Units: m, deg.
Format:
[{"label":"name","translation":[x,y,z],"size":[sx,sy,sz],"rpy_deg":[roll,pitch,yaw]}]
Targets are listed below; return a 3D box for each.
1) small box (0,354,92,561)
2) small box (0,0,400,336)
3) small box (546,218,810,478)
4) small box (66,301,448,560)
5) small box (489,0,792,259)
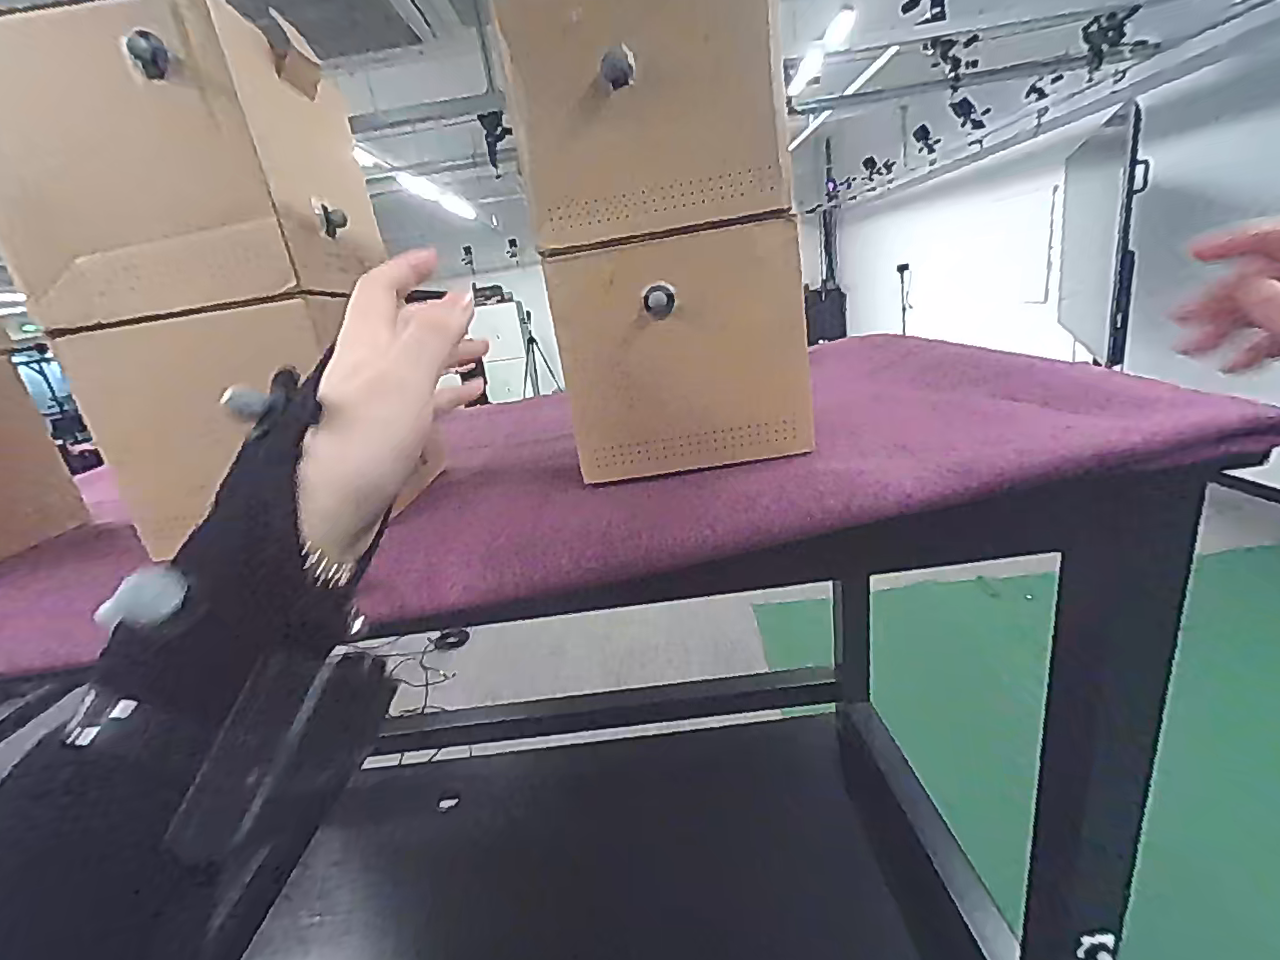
[{"label":"small box","translation":[-0.621,0.003,0.435],"size":[0.168,0.176,0.179],"rpy_deg":[-7,18,0]},{"label":"small box","translation":[-0.313,-0.203,0.406],"size":[0.179,0.176,0.168],"rpy_deg":[-9,17,0]},{"label":"small box","translation":[0.035,-0.105,0.465],"size":[0.179,0.176,0.168],"rpy_deg":[-8,15,4]},{"label":"small box","translation":[-0.283,-0.049,0.453],"size":[0.179,0.176,0.168],"rpy_deg":[-9,17,1]},{"label":"small box","translation":[0.008,-0.261,0.422],"size":[0.179,0.176,0.168],"rpy_deg":[-9,16,5]}]
